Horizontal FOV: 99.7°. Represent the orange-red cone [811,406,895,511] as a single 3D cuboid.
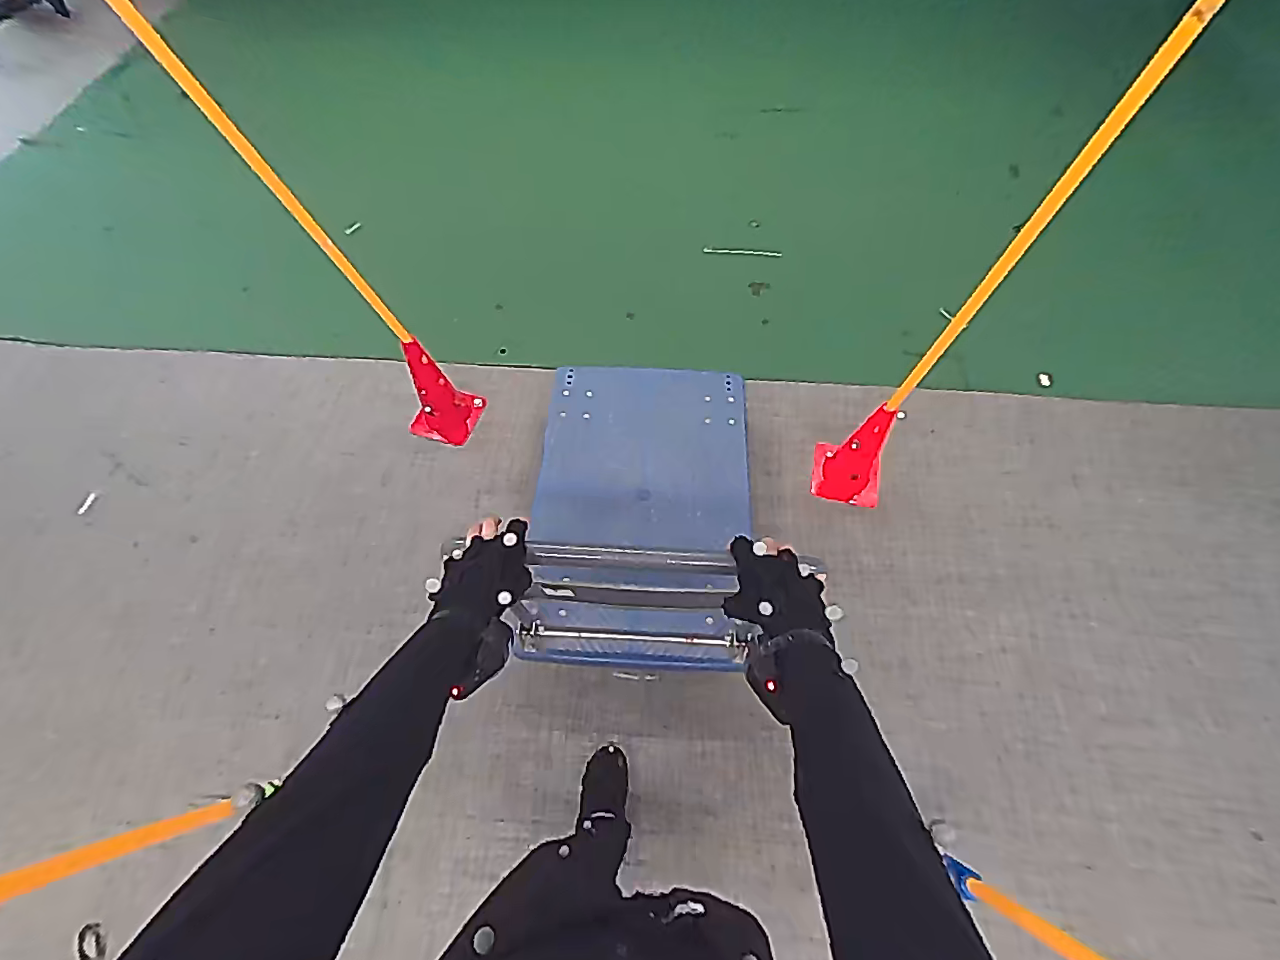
[{"bbox_3d":[0.636,-0.087,1.528,0.198,0.360,0.199,13,62,8],"label":"orange-red cone"}]
